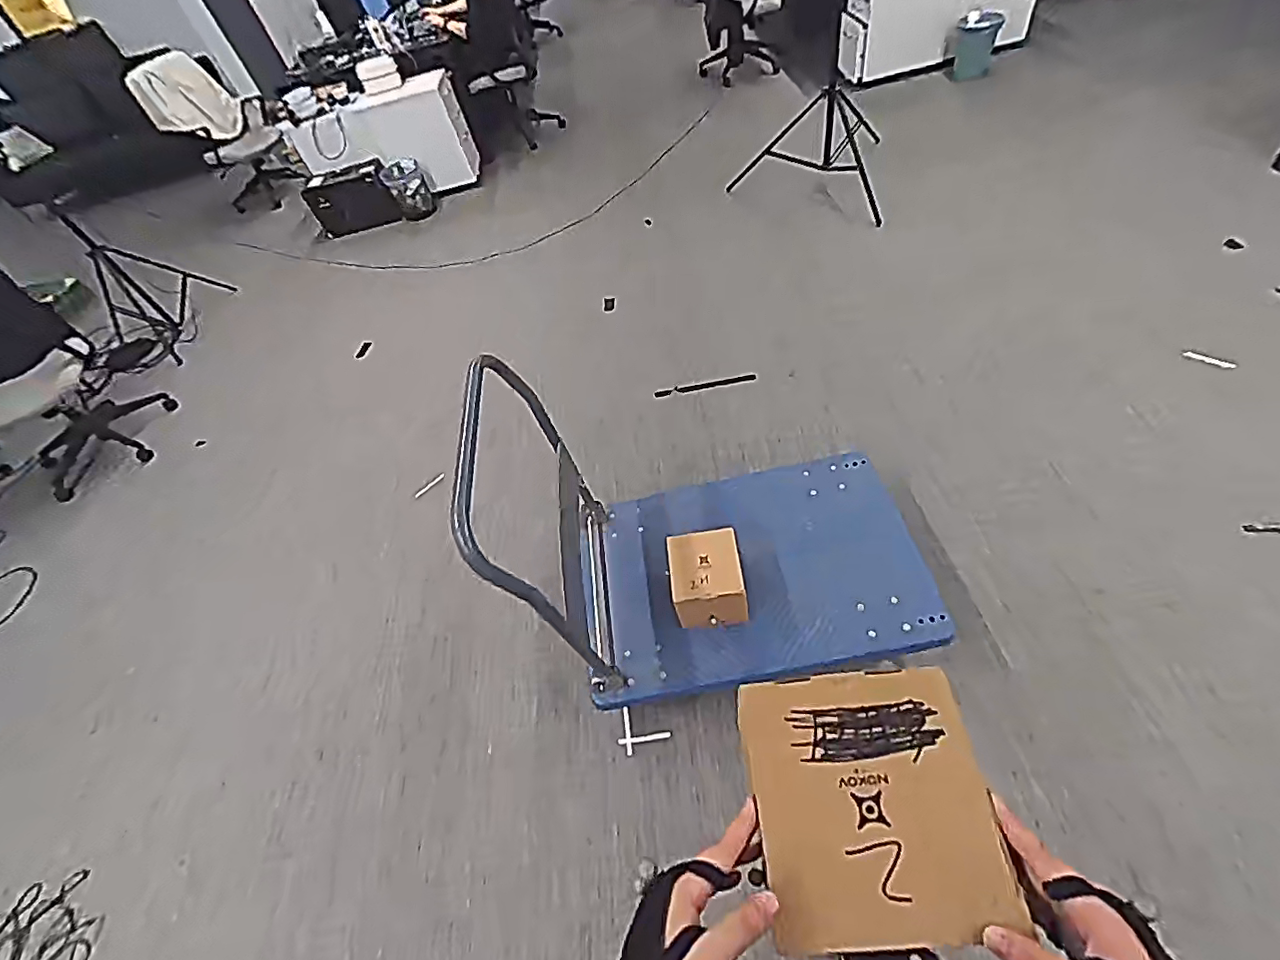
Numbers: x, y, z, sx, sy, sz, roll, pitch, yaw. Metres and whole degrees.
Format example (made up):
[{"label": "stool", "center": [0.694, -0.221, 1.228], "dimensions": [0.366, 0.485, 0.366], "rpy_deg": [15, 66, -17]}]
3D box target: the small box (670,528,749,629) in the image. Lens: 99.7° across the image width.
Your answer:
[{"label": "small box", "center": [0.170, 0.244, 1.328], "dimensions": [0.168, 0.176, 0.179], "rpy_deg": [-10, 51, 7]}]
